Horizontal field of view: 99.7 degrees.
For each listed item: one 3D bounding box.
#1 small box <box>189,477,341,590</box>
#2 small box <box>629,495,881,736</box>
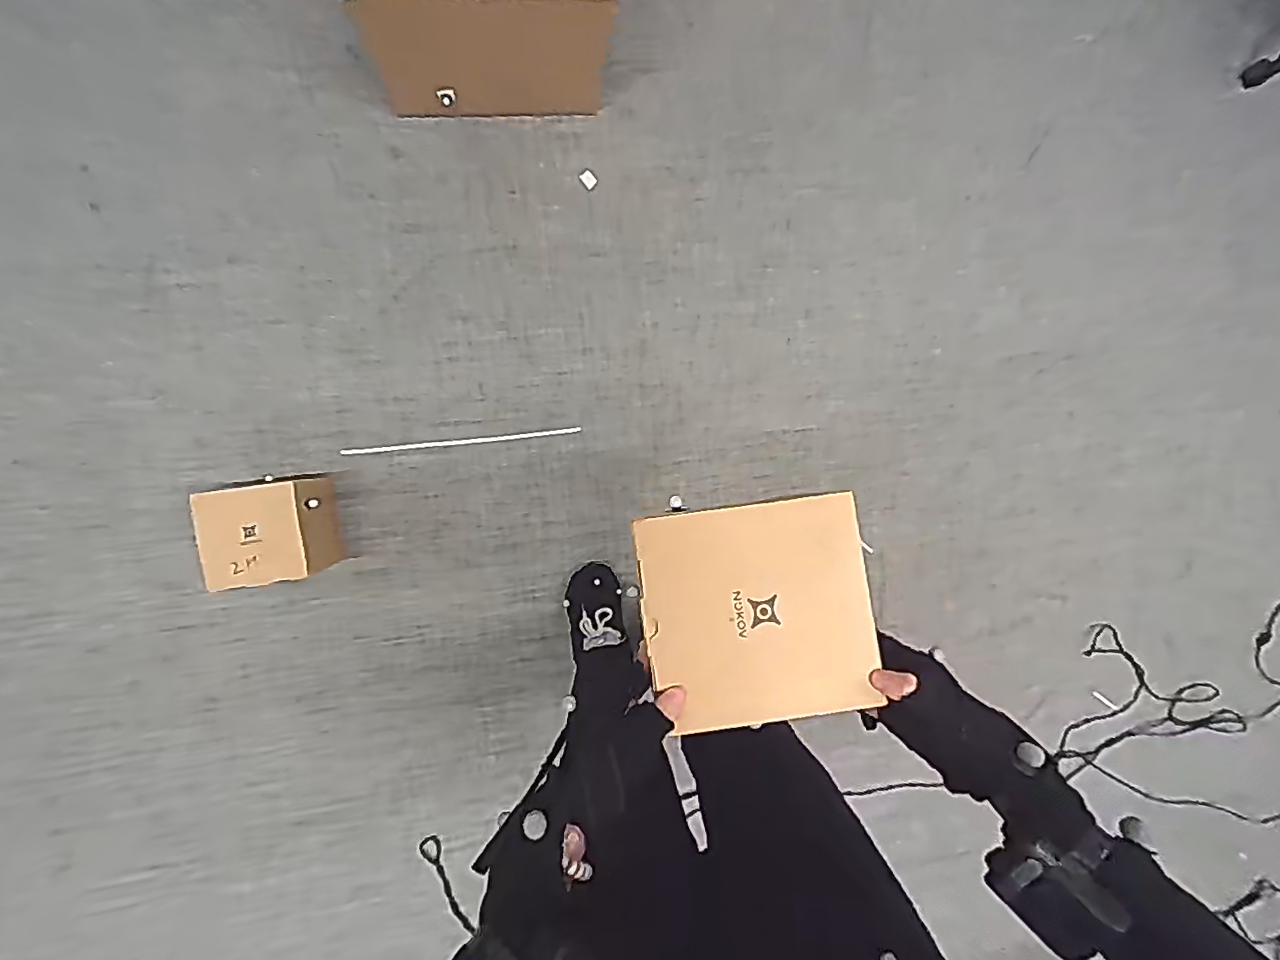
[{"bbox_3d":[-0.683,0.089,1.005,0.168,0.176,0.179,-8,95,-8],"label":"small box"},{"bbox_3d":[0.085,0.104,0.486,0.179,0.176,0.168,-8,86,-1],"label":"small box"}]
